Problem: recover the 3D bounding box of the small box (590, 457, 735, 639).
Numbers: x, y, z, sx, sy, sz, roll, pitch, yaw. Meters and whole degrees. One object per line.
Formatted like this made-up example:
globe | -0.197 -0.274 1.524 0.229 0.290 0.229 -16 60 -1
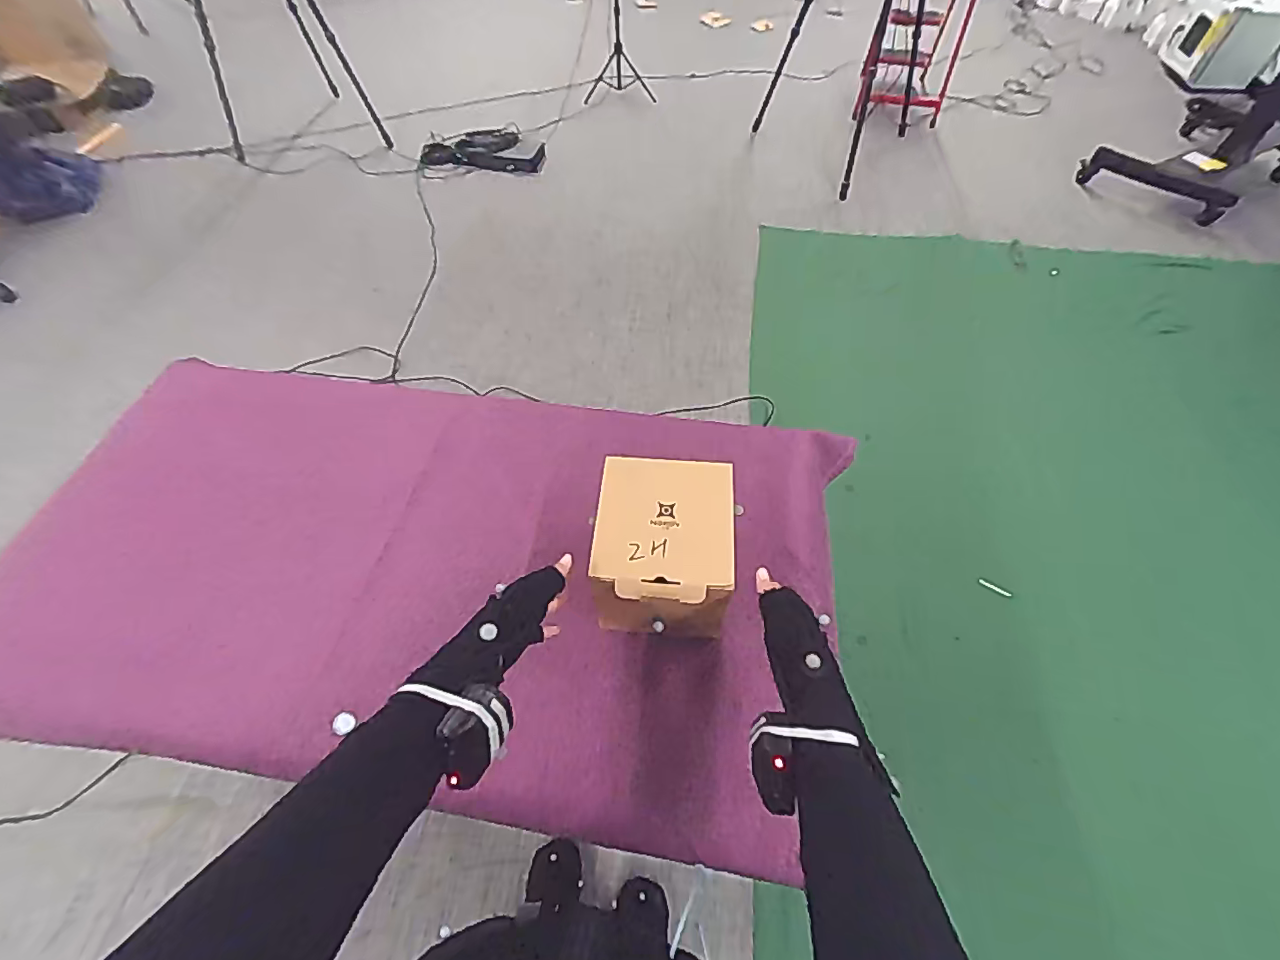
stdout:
small box | 0.032 0.092 0.714 0.168 0.176 0.179 4 56 4
